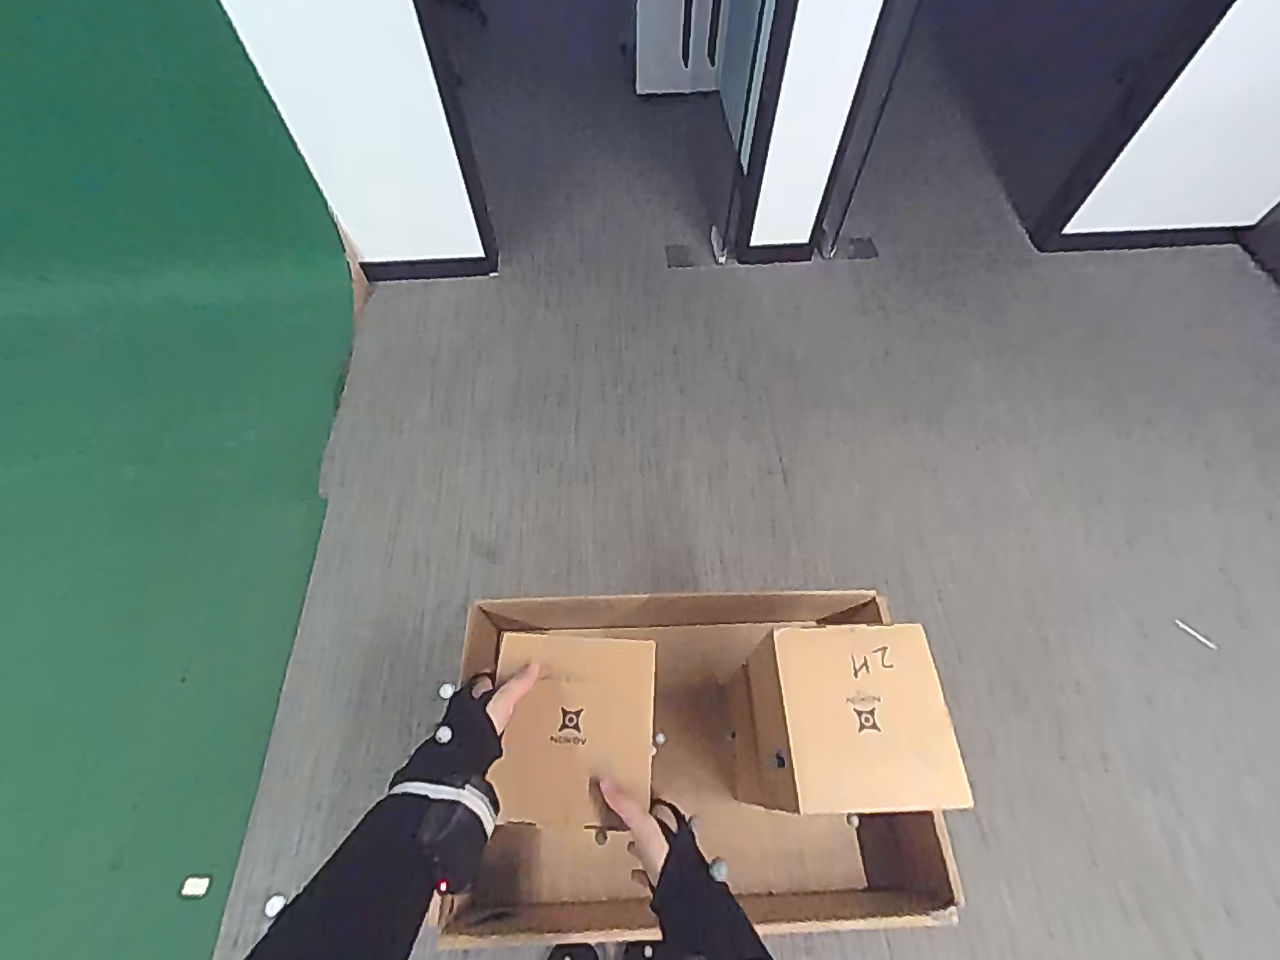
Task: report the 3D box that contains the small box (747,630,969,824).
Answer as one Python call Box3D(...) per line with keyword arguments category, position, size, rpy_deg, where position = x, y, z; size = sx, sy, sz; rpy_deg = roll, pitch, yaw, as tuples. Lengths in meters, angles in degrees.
Box3D(category="small box", position=(0.222, 0.277, 0.607), size=(0.168, 0.176, 0.179), rpy_deg=(-1, 59, -1))

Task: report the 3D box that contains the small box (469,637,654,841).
Box3D(category="small box", position=(-0.072, 0.288, 0.604), size=(0.168, 0.176, 0.179), rpy_deg=(4, 59, 1))
